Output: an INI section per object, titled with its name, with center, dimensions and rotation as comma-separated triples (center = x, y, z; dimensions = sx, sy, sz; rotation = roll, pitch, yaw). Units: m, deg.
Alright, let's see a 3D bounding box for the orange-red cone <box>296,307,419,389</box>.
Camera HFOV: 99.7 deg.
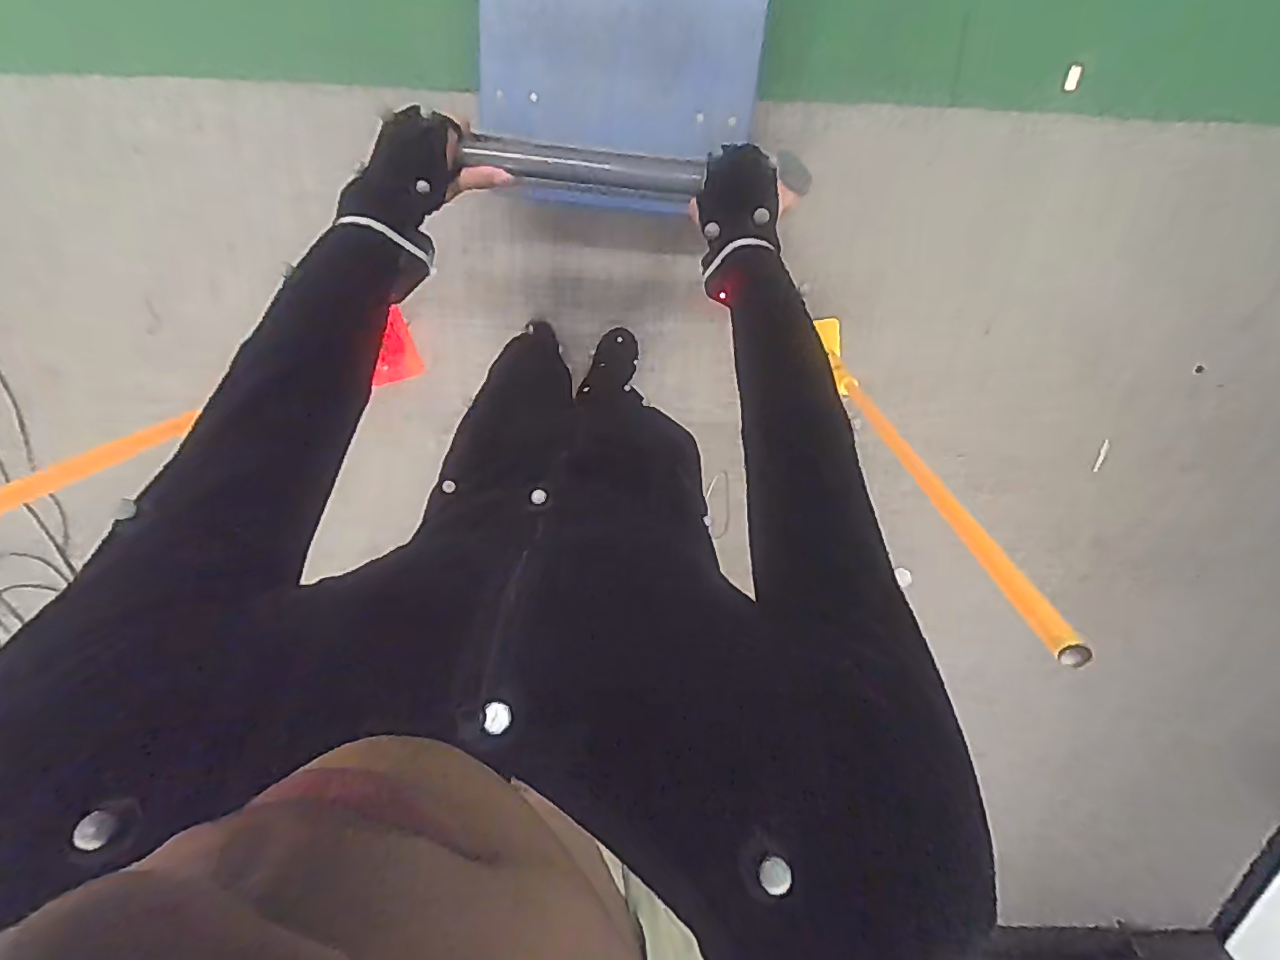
[orange-red cone]
center = -0.725, -0.294, 1.325
dimensions = 0.199, 0.360, 0.198
rotation = -12, 112, 5
